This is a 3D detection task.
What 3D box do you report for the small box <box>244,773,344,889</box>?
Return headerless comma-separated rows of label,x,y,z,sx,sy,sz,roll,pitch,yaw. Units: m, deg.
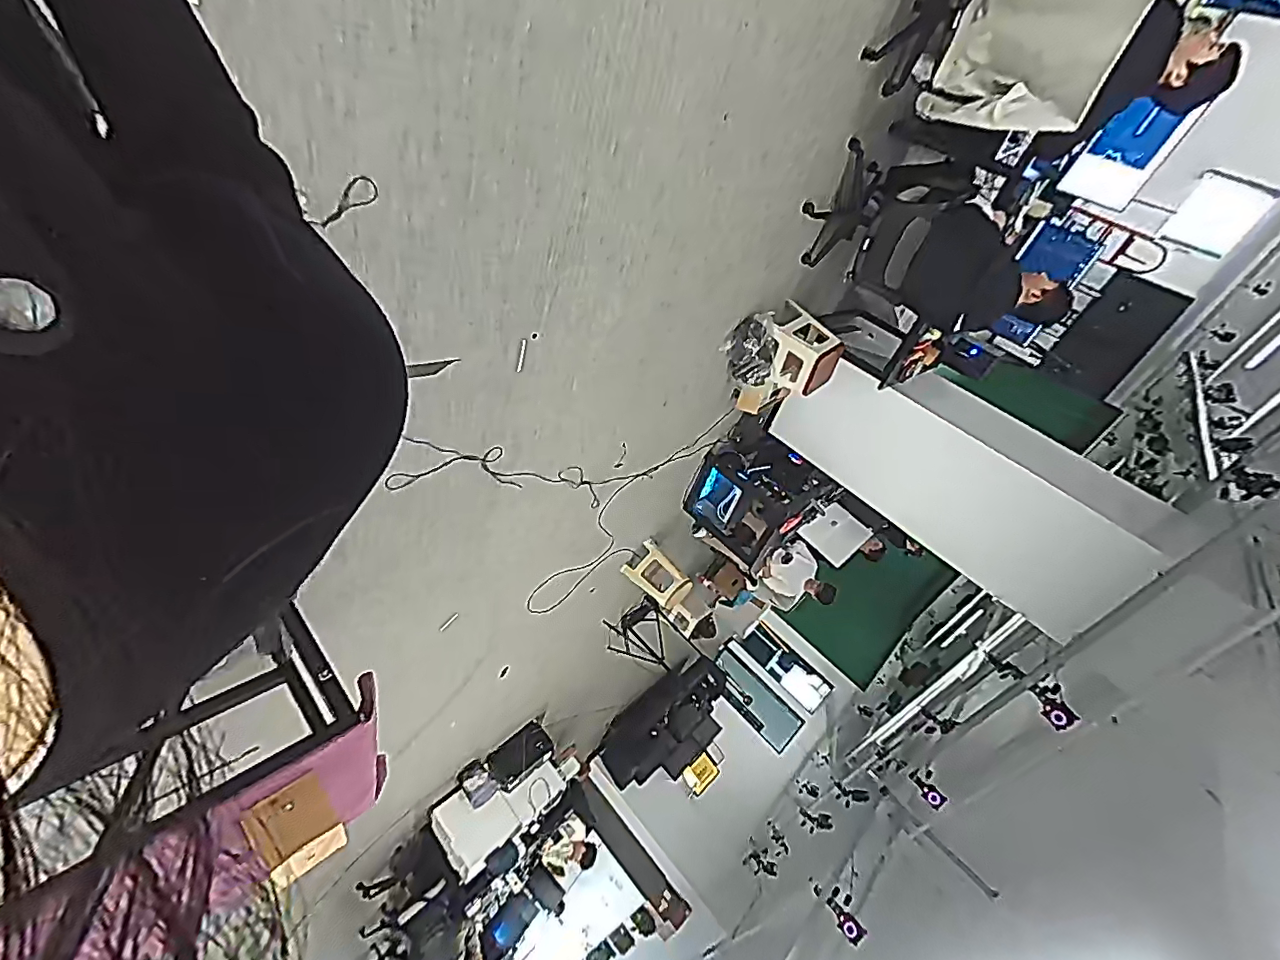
small box,-0.900,0.910,1.413,0.168,0.176,0.179,-26,147,-42
